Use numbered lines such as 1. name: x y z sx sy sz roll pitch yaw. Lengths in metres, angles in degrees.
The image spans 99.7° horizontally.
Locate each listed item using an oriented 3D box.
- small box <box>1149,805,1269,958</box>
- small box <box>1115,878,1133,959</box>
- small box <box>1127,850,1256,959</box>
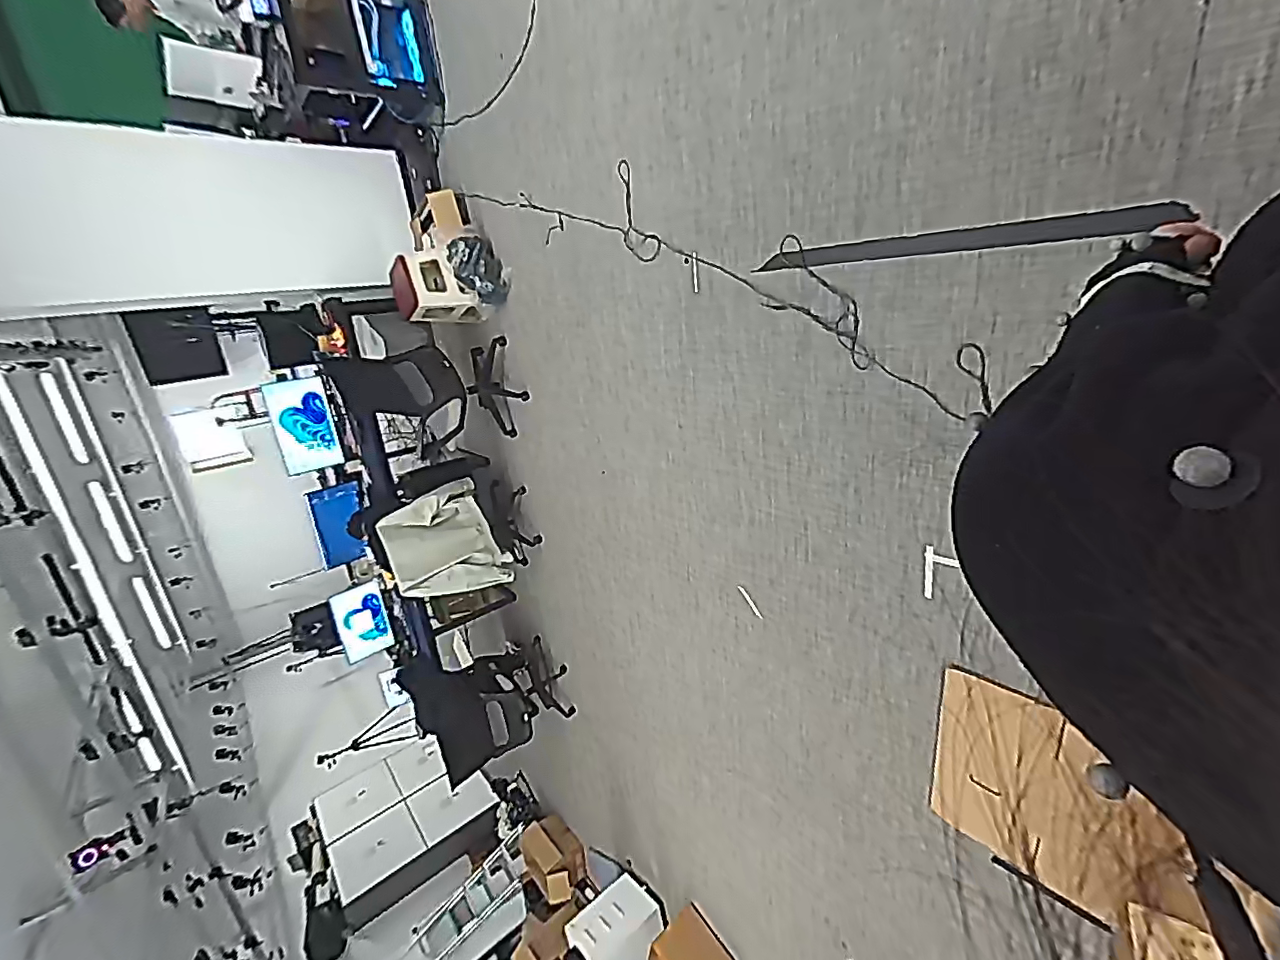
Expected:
1. small box: 1.258 0.870 1.196 0.168 0.176 0.179 -4 103 53
2. small box: 1.274 1.129 1.303 0.168 0.176 0.179 3 109 51
3. small box: 1.129 0.921 1.106 0.168 0.176 0.179 -4 103 51
